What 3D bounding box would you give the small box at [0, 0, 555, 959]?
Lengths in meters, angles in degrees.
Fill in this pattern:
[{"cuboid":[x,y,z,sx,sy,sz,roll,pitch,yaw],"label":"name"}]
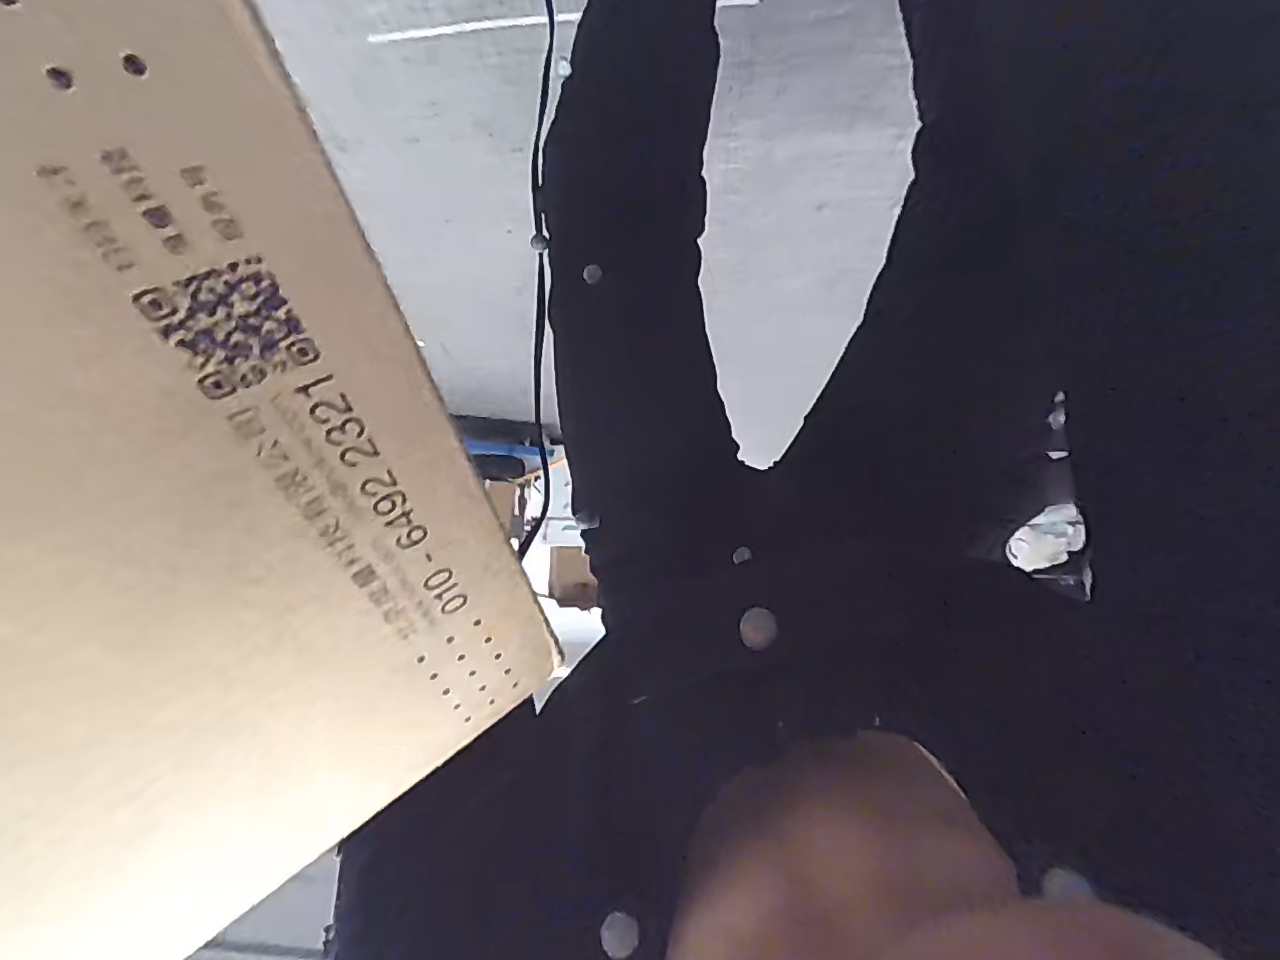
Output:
[{"cuboid":[-0.145,-0.010,0.128,0.176,0.168,0.179,-32,-138,-22],"label":"small box"}]
